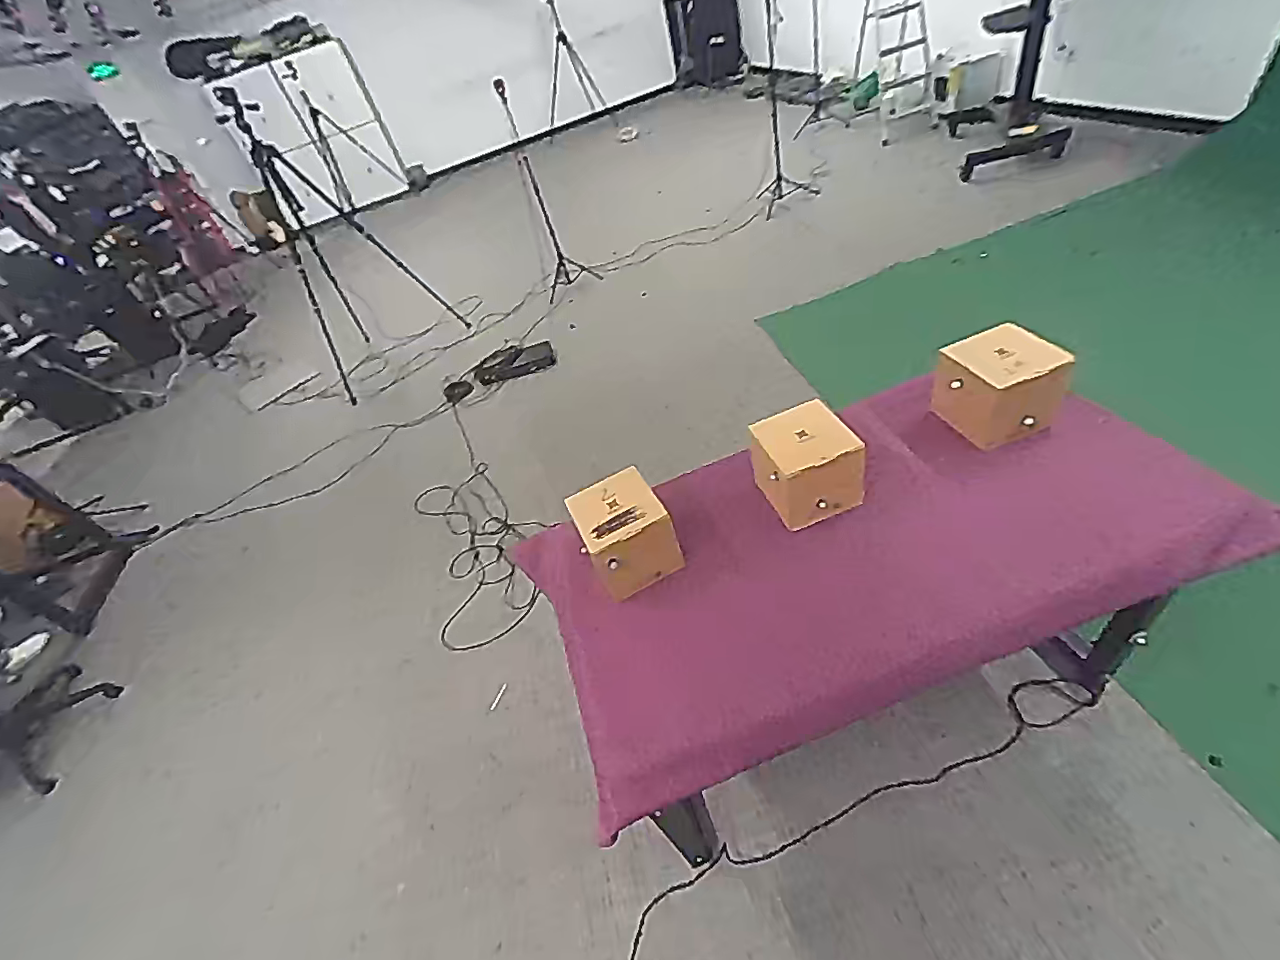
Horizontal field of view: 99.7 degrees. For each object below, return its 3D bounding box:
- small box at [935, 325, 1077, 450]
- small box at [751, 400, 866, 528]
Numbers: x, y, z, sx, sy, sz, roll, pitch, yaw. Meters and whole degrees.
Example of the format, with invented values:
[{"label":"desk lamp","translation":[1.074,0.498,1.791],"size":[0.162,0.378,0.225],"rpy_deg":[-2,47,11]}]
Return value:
[{"label":"small box","translation":[0.755,-0.195,1.143],"size":[0.168,0.176,0.179],"rpy_deg":[-21,43,-1]},{"label":"small box","translation":[0.346,-0.033,1.130],"size":[0.168,0.176,0.179],"rpy_deg":[-21,44,-3]}]
